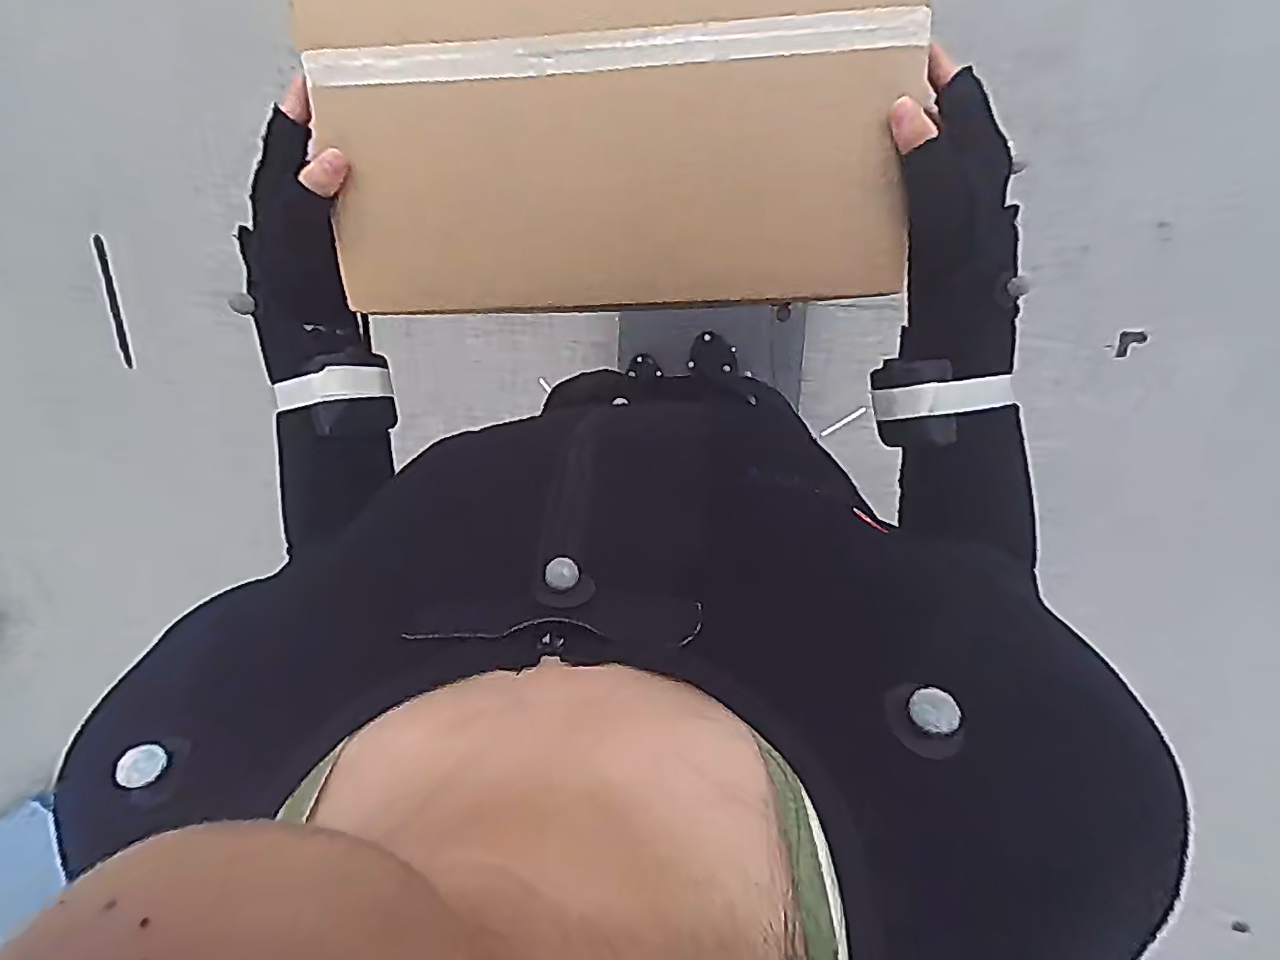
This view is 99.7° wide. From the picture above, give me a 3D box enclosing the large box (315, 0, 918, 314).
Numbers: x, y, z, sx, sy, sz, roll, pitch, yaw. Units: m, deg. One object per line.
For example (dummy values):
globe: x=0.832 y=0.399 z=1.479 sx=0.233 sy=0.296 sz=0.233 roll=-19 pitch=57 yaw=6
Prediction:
large box: x=-0.009 y=-0.326 z=0.505 sx=0.408 sy=0.320 sz=0.320 roll=0 pitch=107 yaw=4
